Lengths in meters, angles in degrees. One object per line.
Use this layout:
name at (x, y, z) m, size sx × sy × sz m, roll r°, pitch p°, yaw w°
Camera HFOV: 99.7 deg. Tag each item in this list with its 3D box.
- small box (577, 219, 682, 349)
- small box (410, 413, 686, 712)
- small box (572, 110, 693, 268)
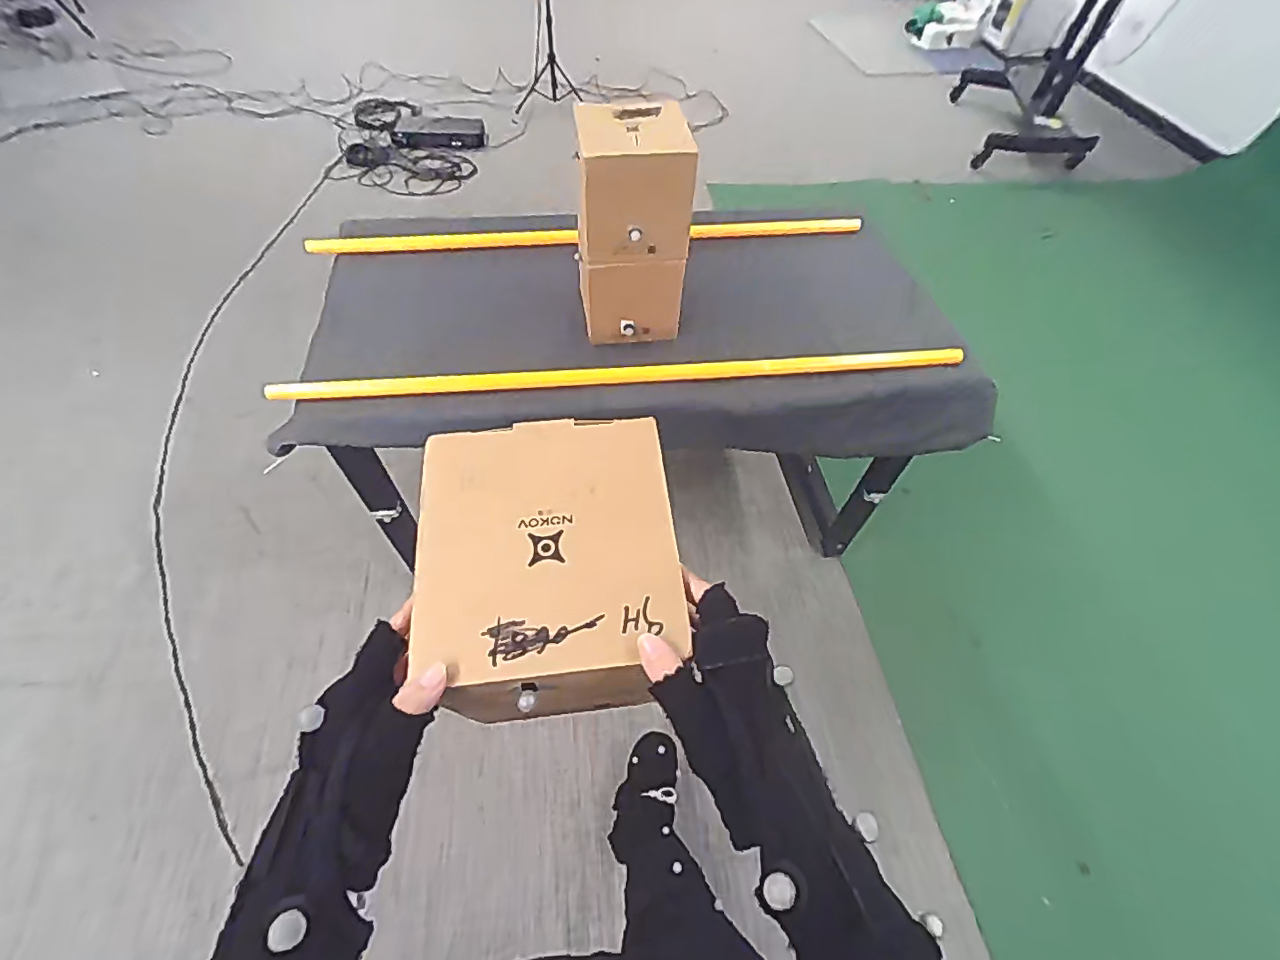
small box at (-0.025, -0.367, 1.001) m, size 0.168 × 0.176 × 0.179 m, roll -7°, pitch 56°, yaw -7°
small box at (-0.063, 0.071, 0.429) m, size 0.168 × 0.176 × 0.179 m, roll -6°, pitch 60°, yaw -4°
small box at (-0.019, -0.466, 0.869) m, size 0.168 × 0.176 × 0.179 m, roll -6°, pitch 55°, yaw -6°
